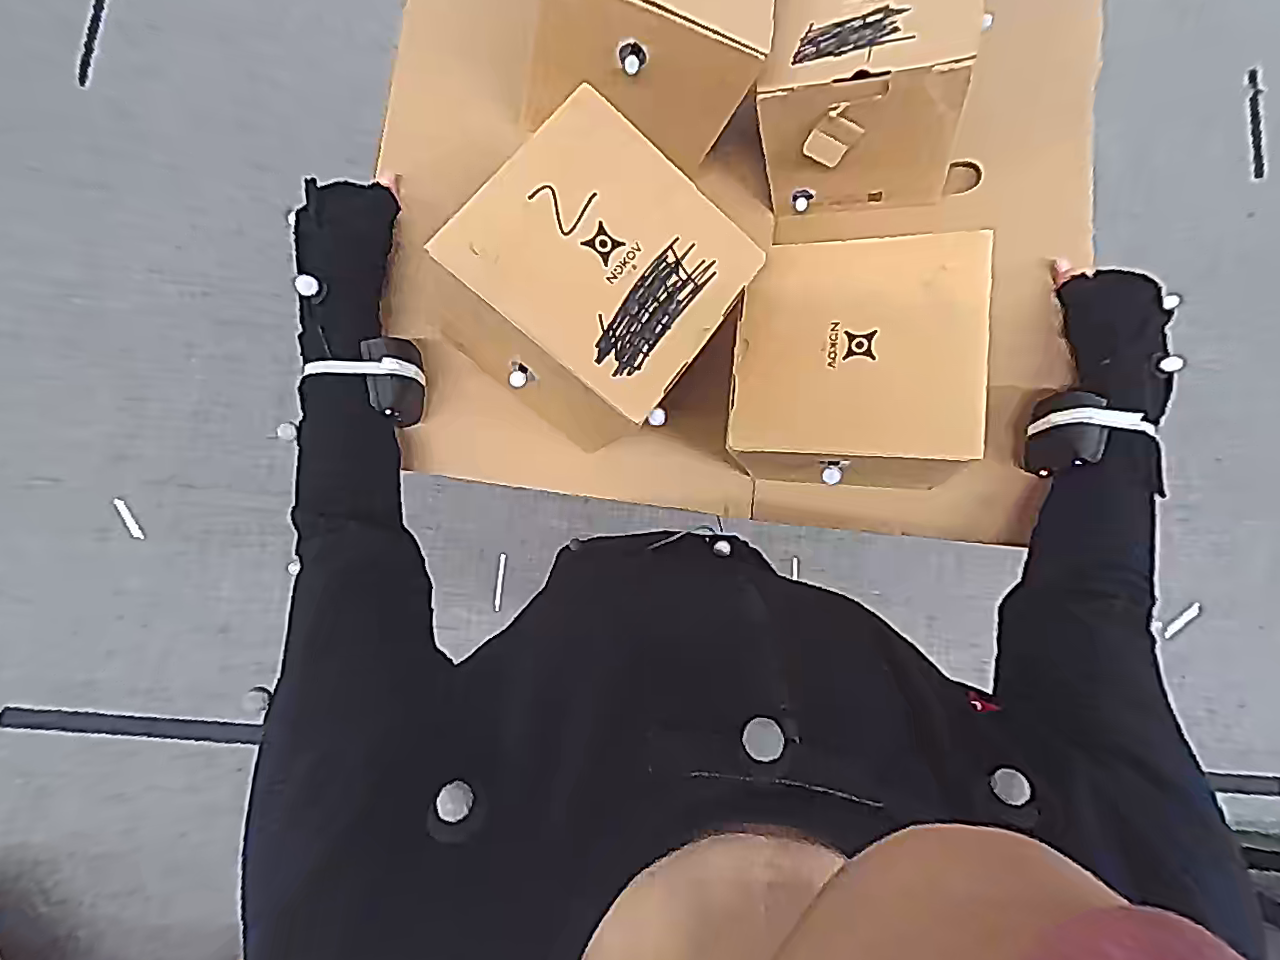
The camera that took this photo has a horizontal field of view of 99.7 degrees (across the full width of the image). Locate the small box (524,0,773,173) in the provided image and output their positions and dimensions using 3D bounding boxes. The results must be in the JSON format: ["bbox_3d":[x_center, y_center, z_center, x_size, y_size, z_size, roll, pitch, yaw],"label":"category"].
[{"bbox_3d":[0.002,-0.409,0.472,0.179,0.176,0.168,11,84,-17],"label":"small box"}]

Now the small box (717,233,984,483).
[{"bbox_3d":[0.178,-0.092,0.477,0.179,0.176,0.168,5,84,21],"label":"small box"}]
